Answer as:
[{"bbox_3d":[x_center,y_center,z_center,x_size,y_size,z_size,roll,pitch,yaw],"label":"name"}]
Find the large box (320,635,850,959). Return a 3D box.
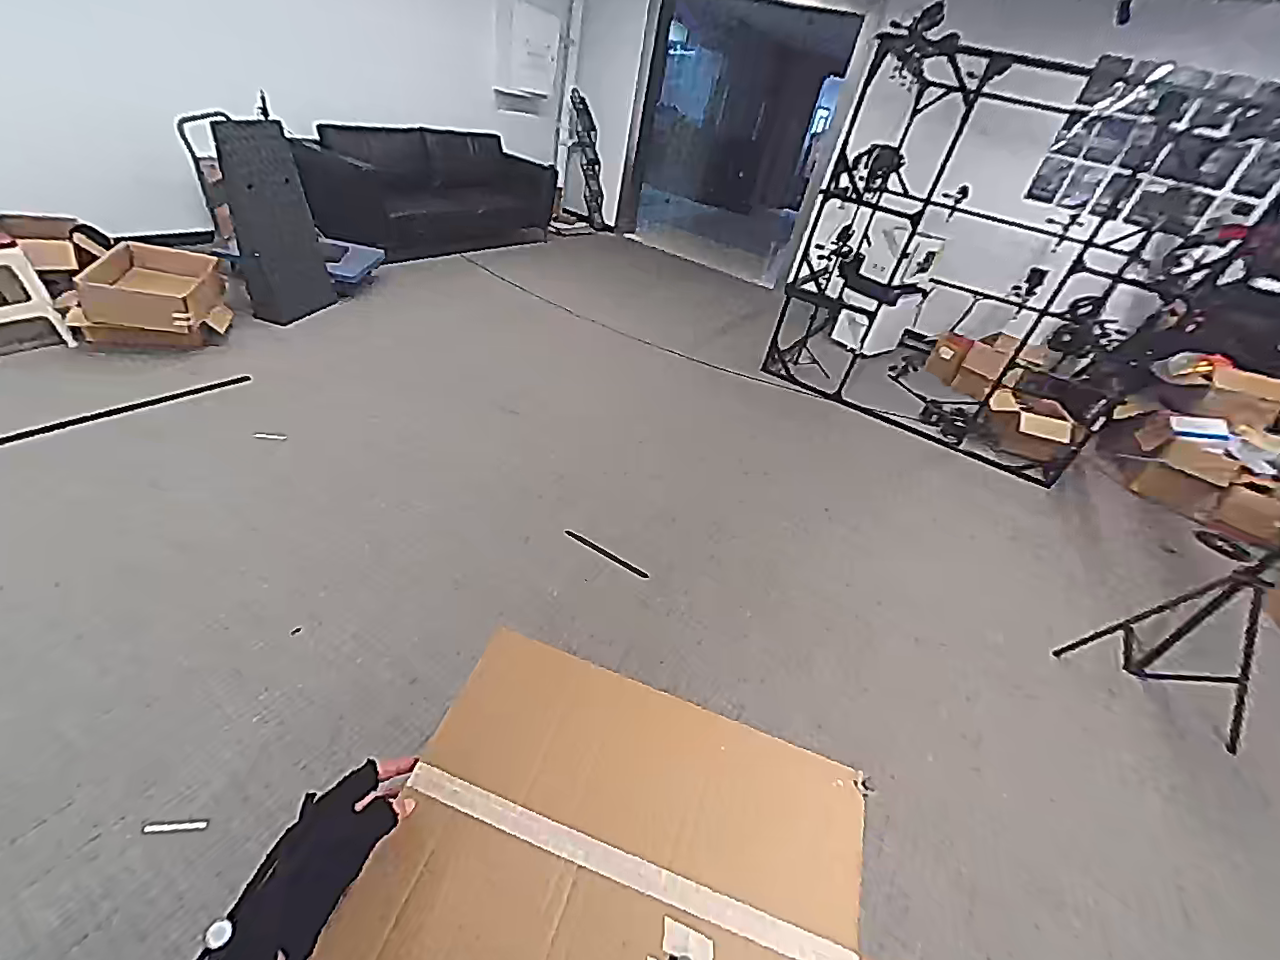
[{"bbox_3d":[-0.038,0.435,0.587,0.408,0.320,0.320,20,48,7],"label":"large box"}]
